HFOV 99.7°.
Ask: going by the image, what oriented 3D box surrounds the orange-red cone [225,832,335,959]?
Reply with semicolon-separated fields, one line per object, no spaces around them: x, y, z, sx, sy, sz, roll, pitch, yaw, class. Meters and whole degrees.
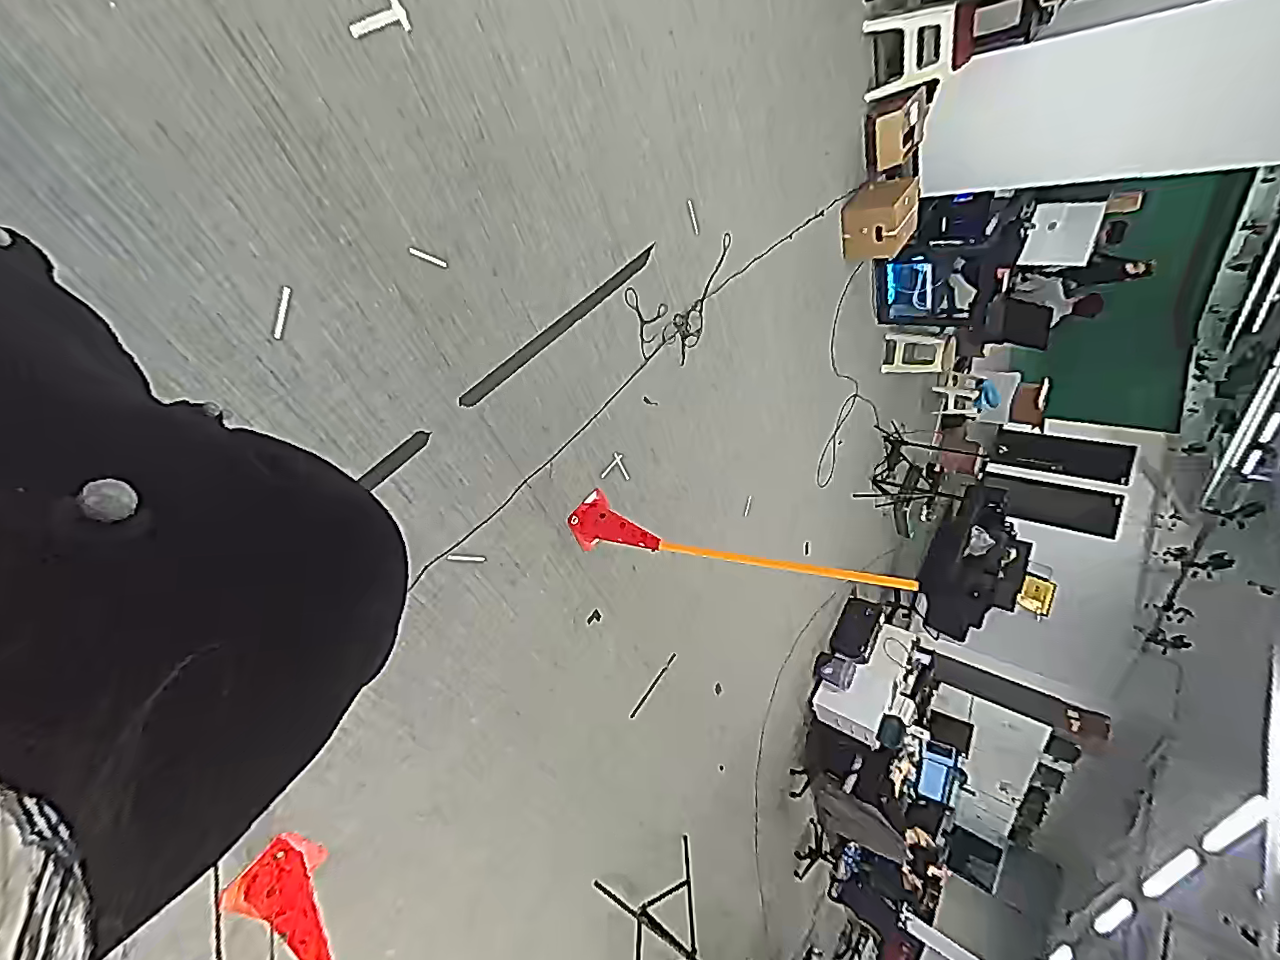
-0.863;1.130;1.382;0.199;0.360;0.198;-46;134;-30;orange-red cone
